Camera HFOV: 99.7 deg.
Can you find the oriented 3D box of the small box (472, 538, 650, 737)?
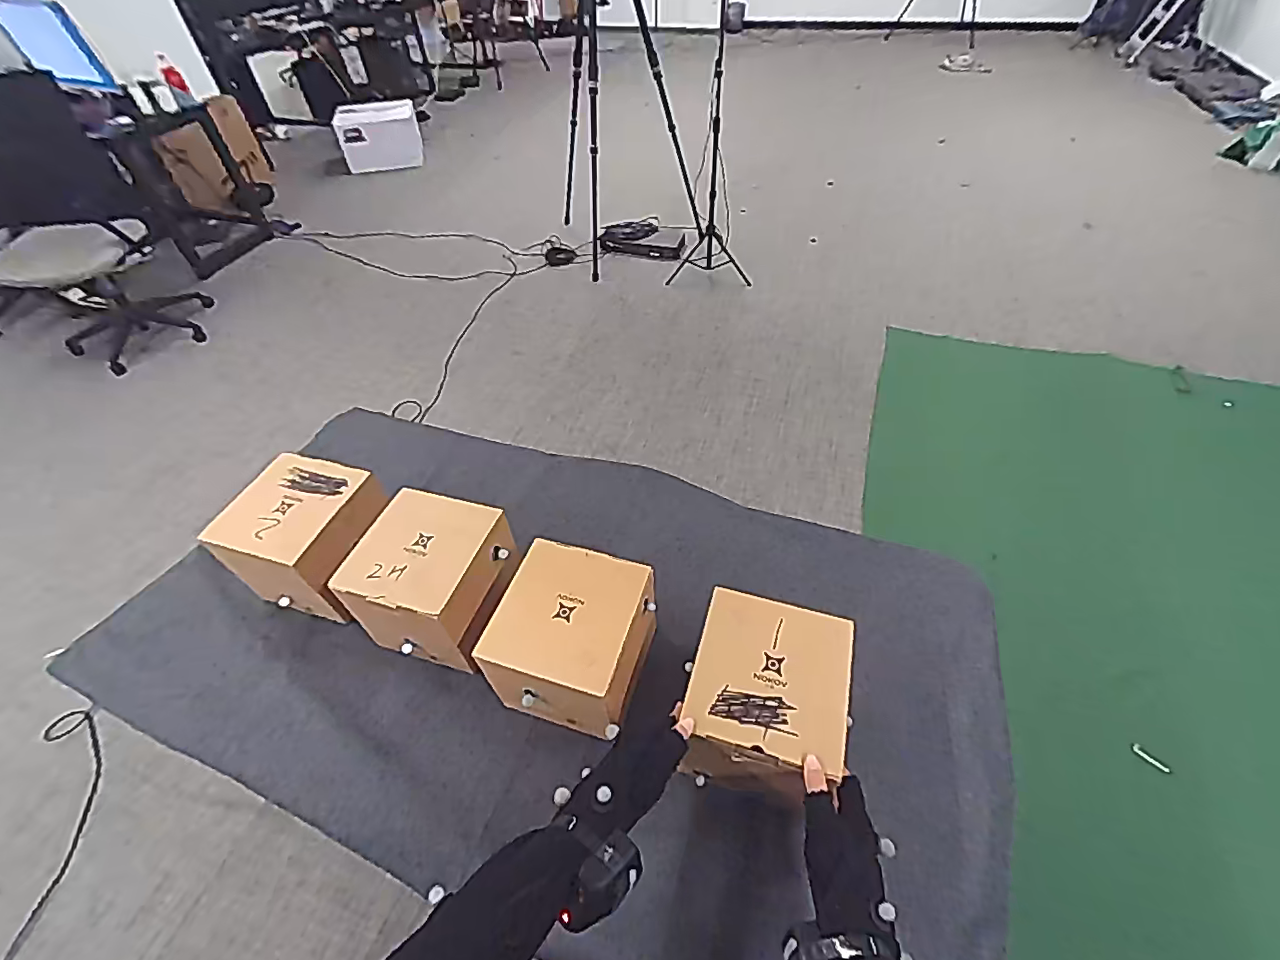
[{"bbox_3d":[-0.086,0.208,0.710,0.168,0.176,0.179,12,49,14],"label":"small box"}]

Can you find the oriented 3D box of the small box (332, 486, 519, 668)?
[{"bbox_3d":[-0.289,0.139,0.779,0.168,0.176,0.179,12,50,13],"label":"small box"}]
